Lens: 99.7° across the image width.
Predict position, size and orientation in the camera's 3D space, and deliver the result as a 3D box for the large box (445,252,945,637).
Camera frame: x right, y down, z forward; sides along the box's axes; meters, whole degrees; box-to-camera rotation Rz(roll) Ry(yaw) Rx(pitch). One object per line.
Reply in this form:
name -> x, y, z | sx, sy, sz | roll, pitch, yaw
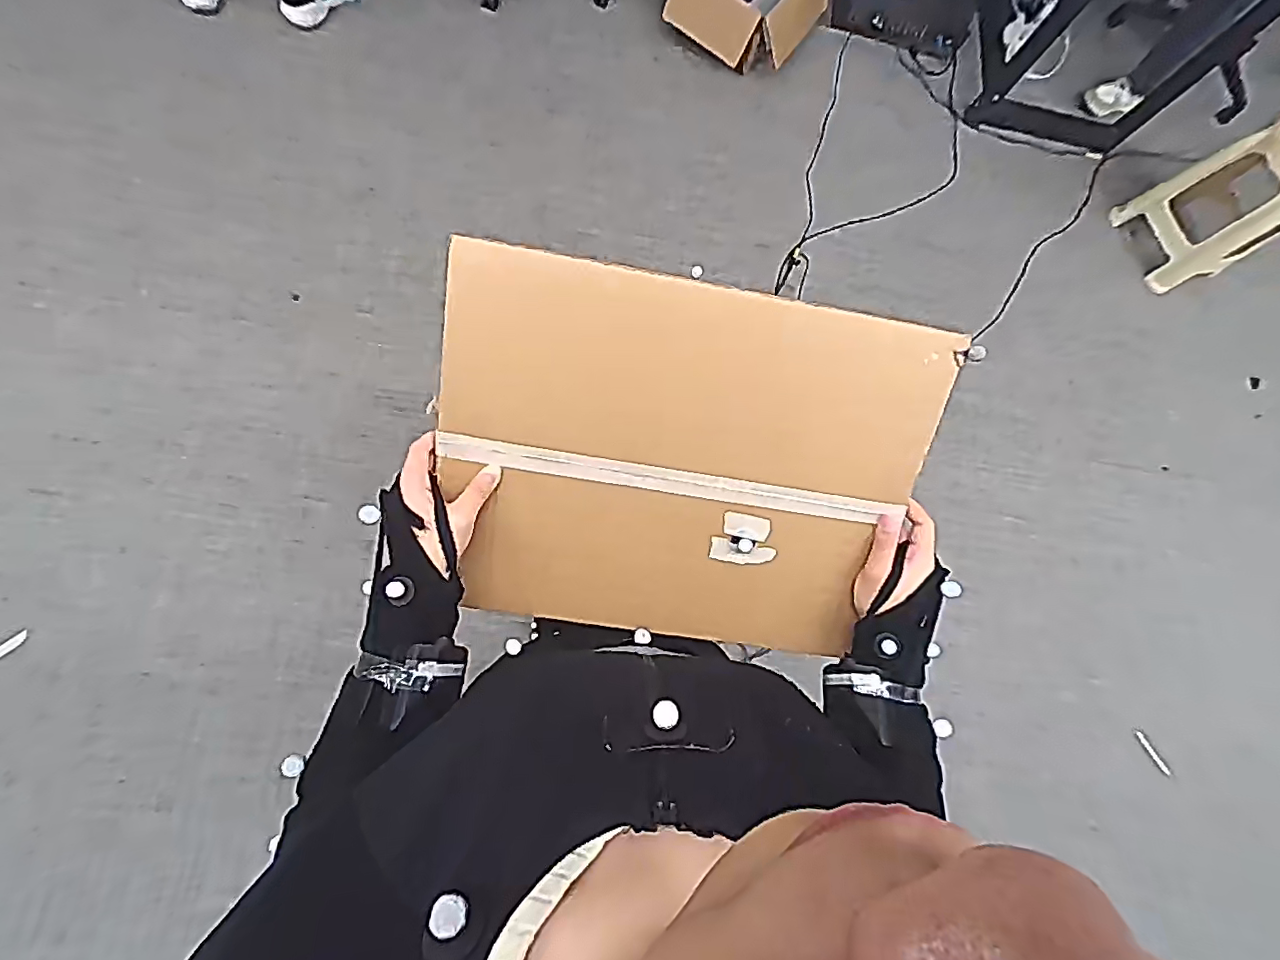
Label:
large box -> 0.025, -0.058, 0.613 | 0.408, 0.320, 0.320 | 8, 111, -6
